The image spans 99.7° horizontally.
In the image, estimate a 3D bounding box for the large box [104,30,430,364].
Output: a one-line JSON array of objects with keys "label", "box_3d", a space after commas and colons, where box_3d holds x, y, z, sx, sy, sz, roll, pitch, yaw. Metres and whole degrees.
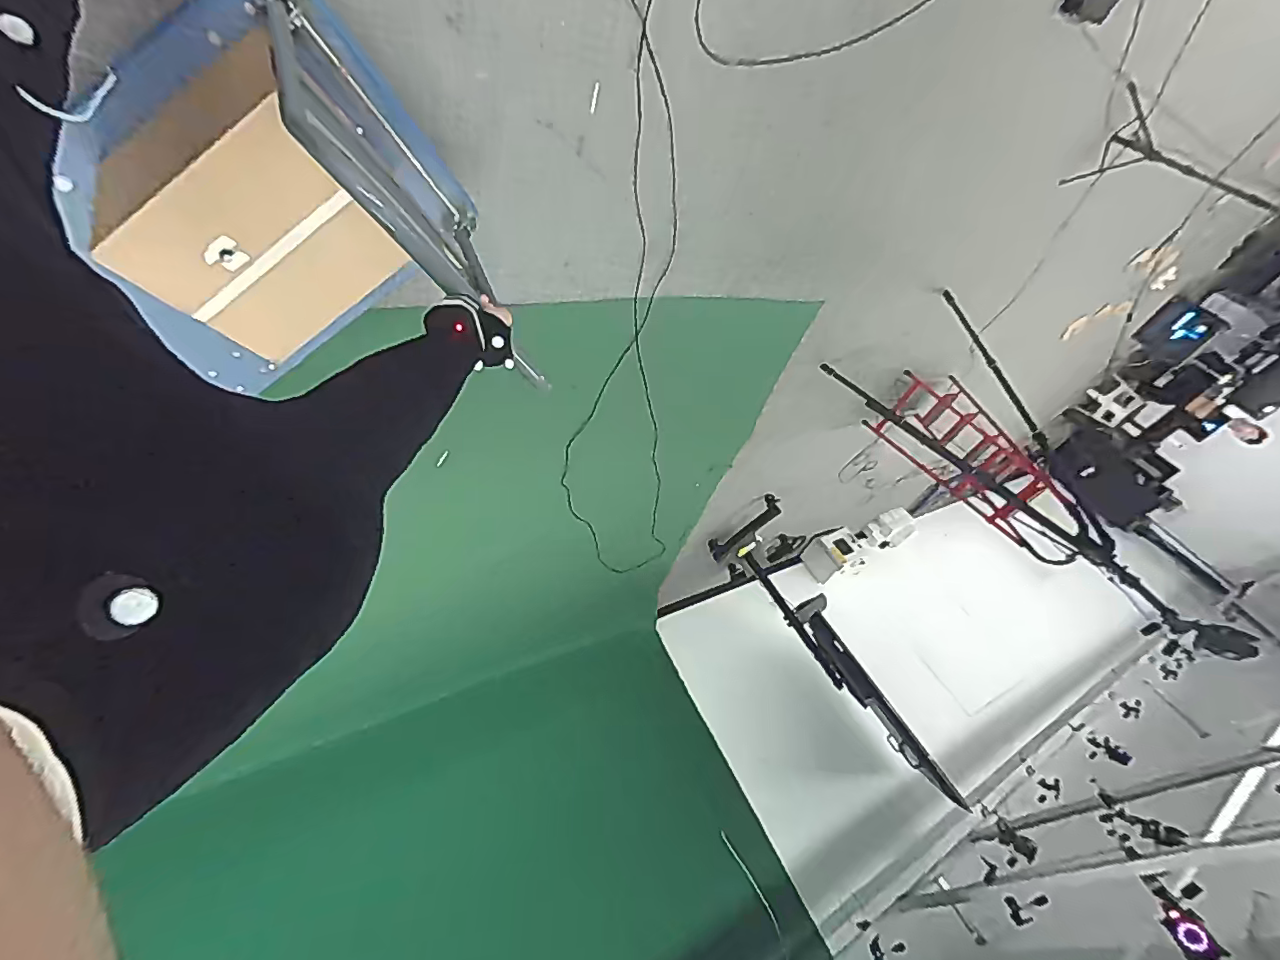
[{"label": "large box", "box_3d": [-0.684, -0.511, 1.013, 0.408, 0.320, 0.320, -36, 149, 6]}]
